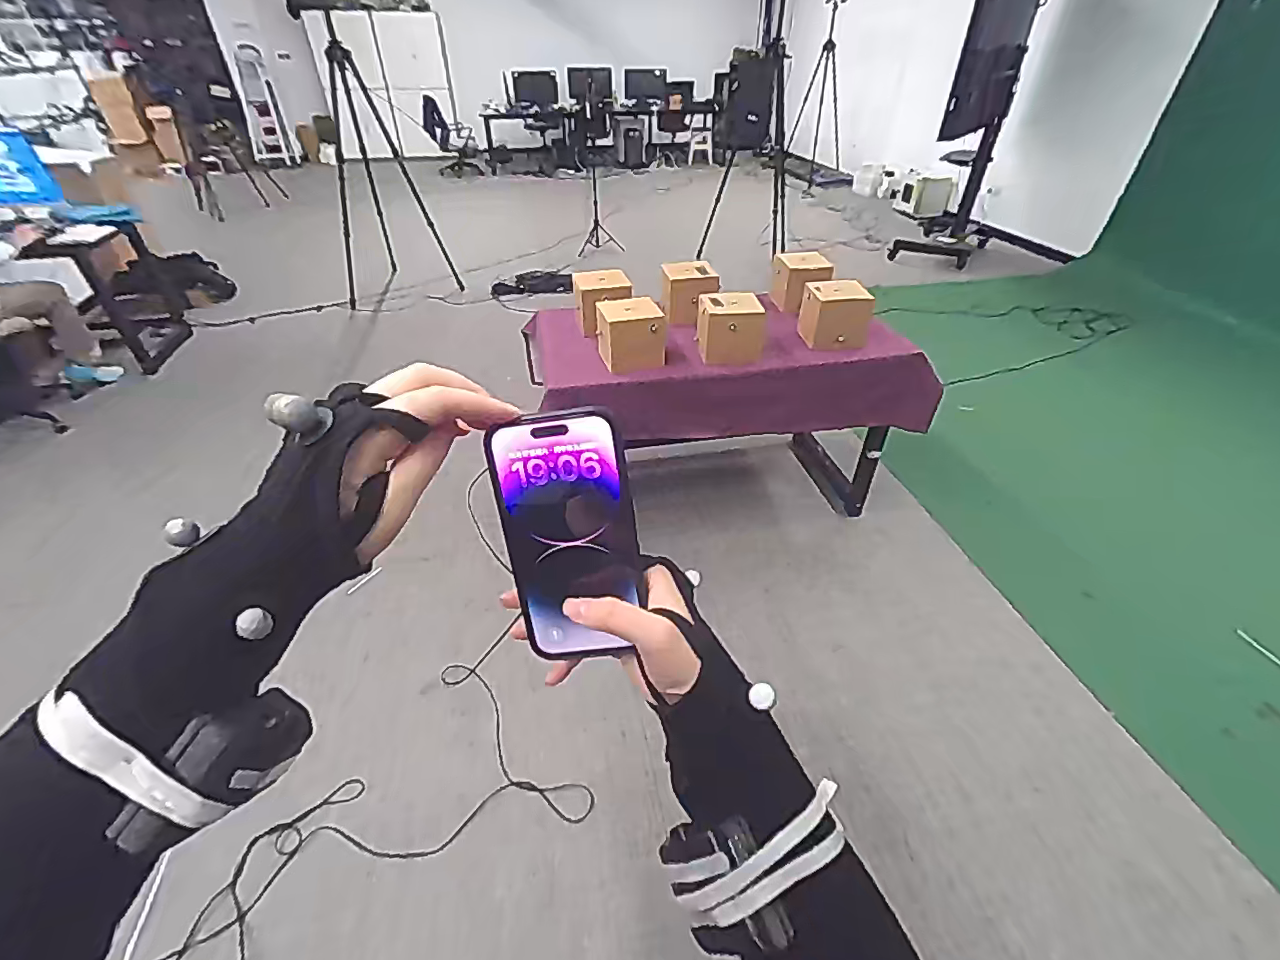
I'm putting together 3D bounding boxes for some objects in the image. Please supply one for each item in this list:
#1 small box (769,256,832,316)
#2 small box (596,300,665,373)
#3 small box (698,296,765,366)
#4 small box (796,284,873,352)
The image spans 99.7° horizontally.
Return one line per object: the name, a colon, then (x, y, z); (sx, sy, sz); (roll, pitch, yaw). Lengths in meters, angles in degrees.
small box: (0.594, -0.729, 2.028); (0.168, 0.176, 0.179); (-5, 40, -5)
small box: (-0.031, -0.441, 1.673); (0.179, 0.176, 0.168); (-10, 39, -14)
small box: (0.280, -0.470, 1.707); (0.179, 0.176, 0.168); (-2, 39, -4)
small box: (0.636, -0.534, 1.787); (0.179, 0.176, 0.168); (-2, 39, -3)
